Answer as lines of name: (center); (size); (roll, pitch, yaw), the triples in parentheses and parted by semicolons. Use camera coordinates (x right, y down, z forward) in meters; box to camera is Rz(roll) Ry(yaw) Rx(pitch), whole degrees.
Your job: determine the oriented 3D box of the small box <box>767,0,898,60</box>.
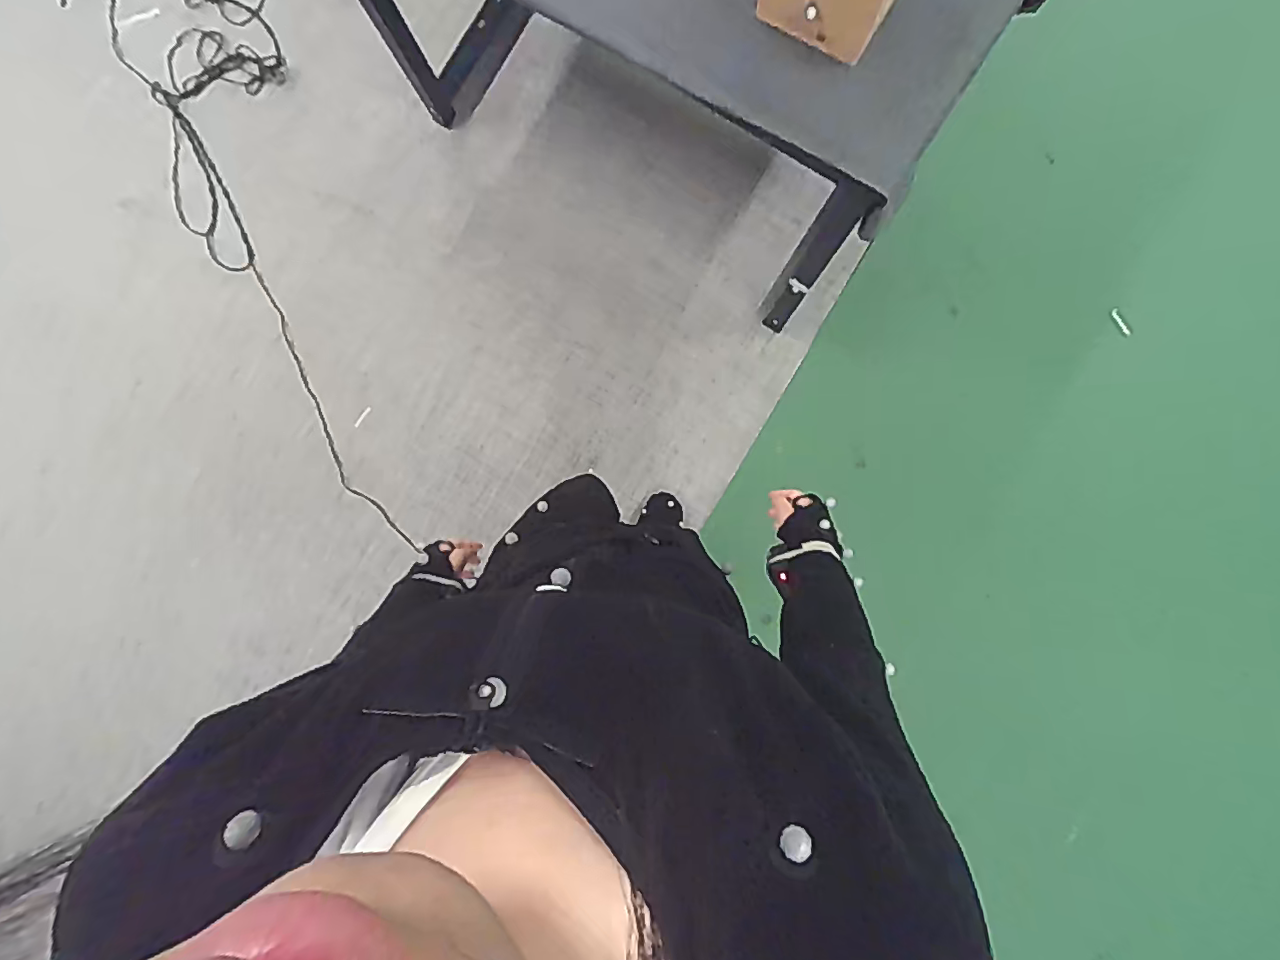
small box: (0.283, -0.715, 0.702); (0.168, 0.176, 0.179); (30, 90, 4)
